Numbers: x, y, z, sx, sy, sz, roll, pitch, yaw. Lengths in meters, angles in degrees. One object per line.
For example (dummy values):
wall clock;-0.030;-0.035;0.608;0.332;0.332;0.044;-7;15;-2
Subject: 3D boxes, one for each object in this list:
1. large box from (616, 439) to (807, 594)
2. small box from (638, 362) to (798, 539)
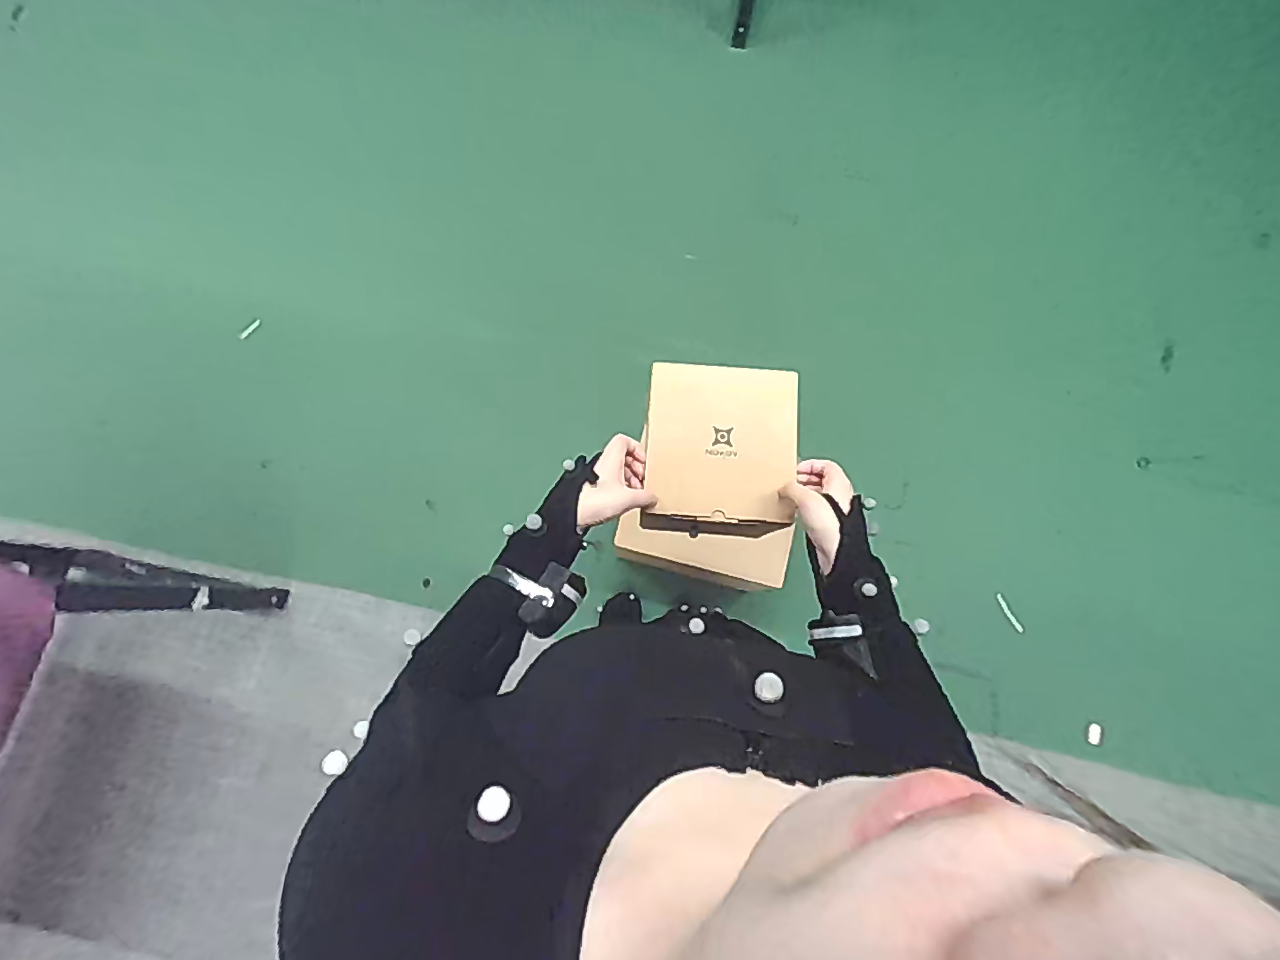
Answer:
large box;0.165;0.095;1.406;0.408;0.320;0.320;15;77;1
small box;0.086;-0.026;0.658;0.168;0.176;0.179;3;81;0
